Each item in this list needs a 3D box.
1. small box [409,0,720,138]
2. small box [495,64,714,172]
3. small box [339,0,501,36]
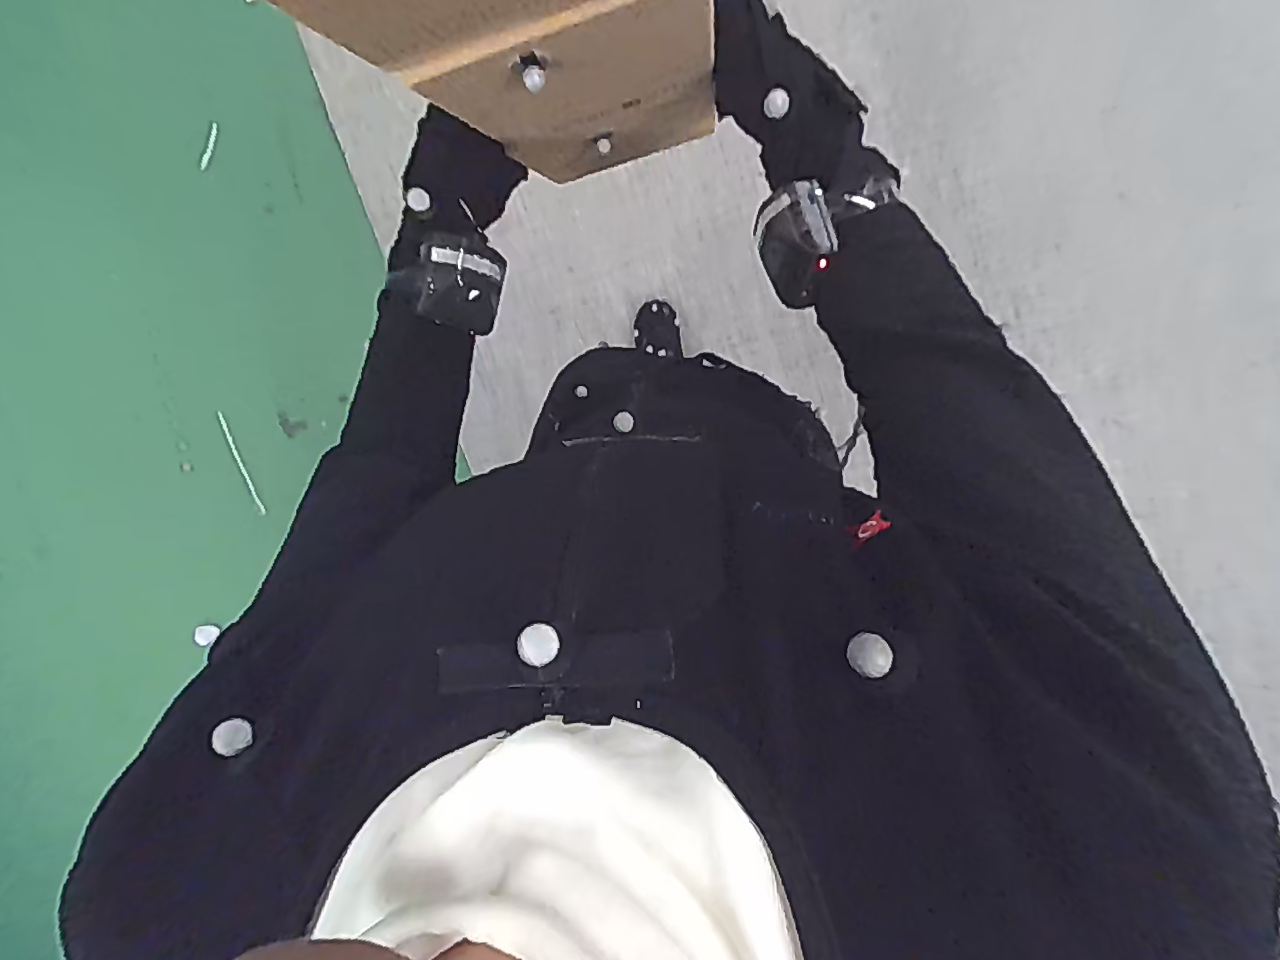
[{"bbox_3d":[-0.052,-0.340,0.321,0.168,0.176,0.179,-13,109,12],"label":"small box"},{"bbox_3d":[-0.036,-0.392,0.472,0.179,0.176,0.168,-11,108,12],"label":"small box"},{"bbox_3d":[-0.076,-0.283,0.167,0.179,0.176,0.168,-10,111,11],"label":"small box"}]
